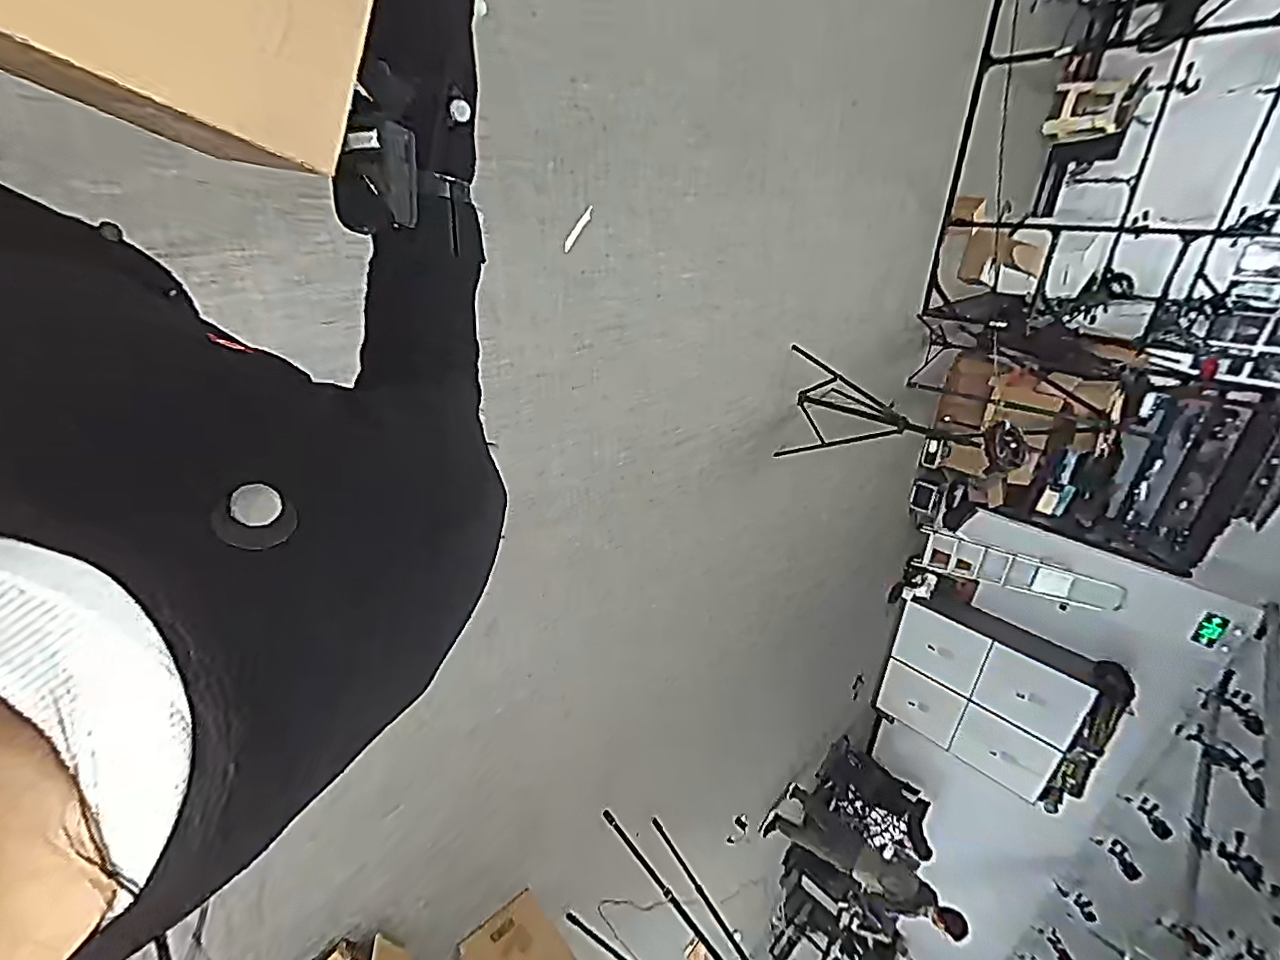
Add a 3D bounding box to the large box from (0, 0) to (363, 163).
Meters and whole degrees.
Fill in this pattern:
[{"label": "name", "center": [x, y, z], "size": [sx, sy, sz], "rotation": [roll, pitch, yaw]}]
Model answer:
[{"label": "large box", "center": [-0.376, -0.397, 0.242], "size": [0.408, 0.320, 0.320], "rotation": [3, 112, -50]}]
